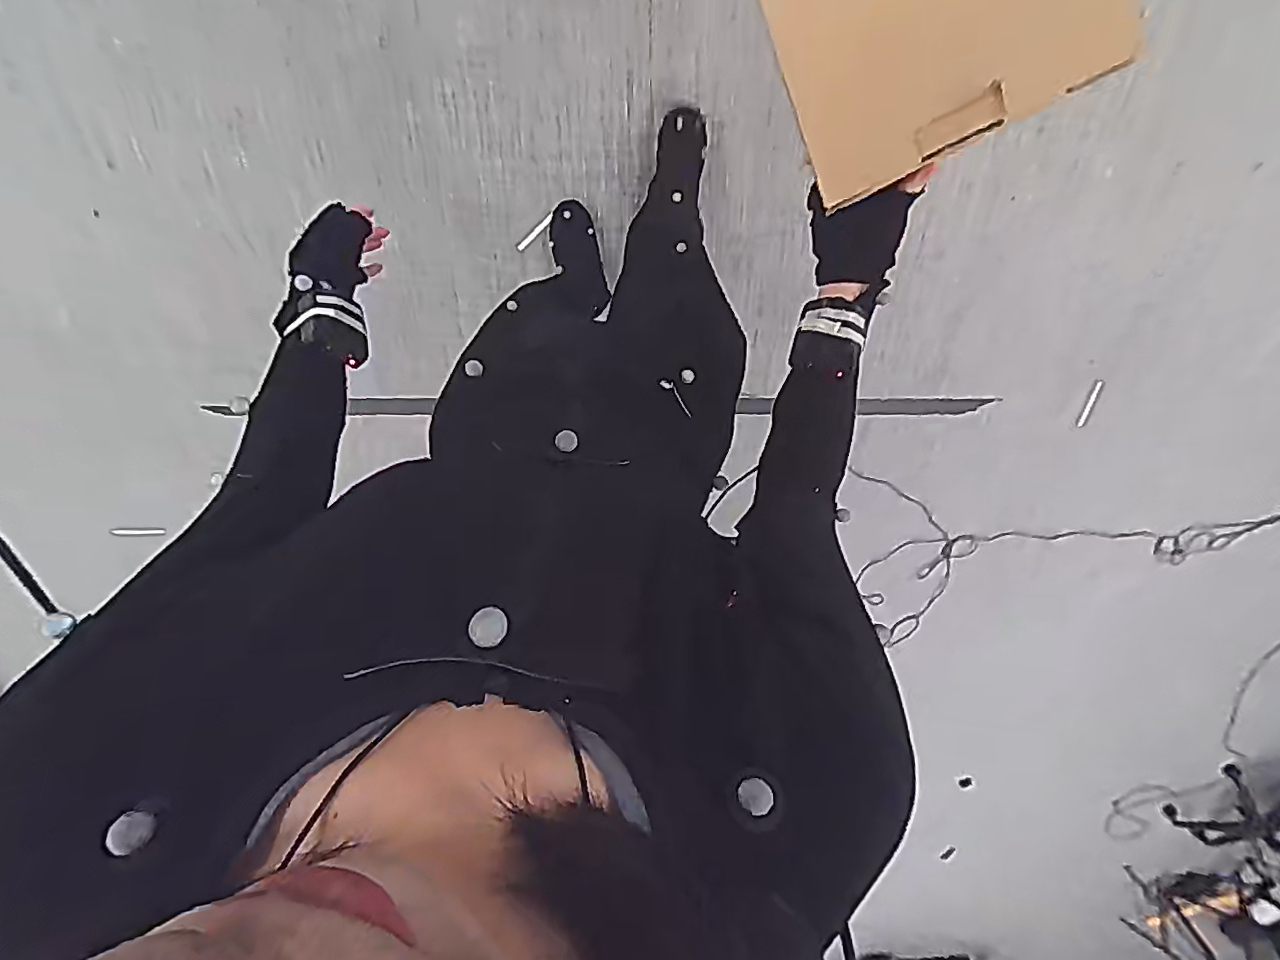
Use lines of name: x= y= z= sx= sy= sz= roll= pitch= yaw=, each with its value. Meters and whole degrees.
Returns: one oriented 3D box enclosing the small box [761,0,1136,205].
small box: x=0.192 y=-0.313 z=0.368 sx=0.168 sy=0.179 sz=0.176 roll=-15 pitch=108 yaw=33
